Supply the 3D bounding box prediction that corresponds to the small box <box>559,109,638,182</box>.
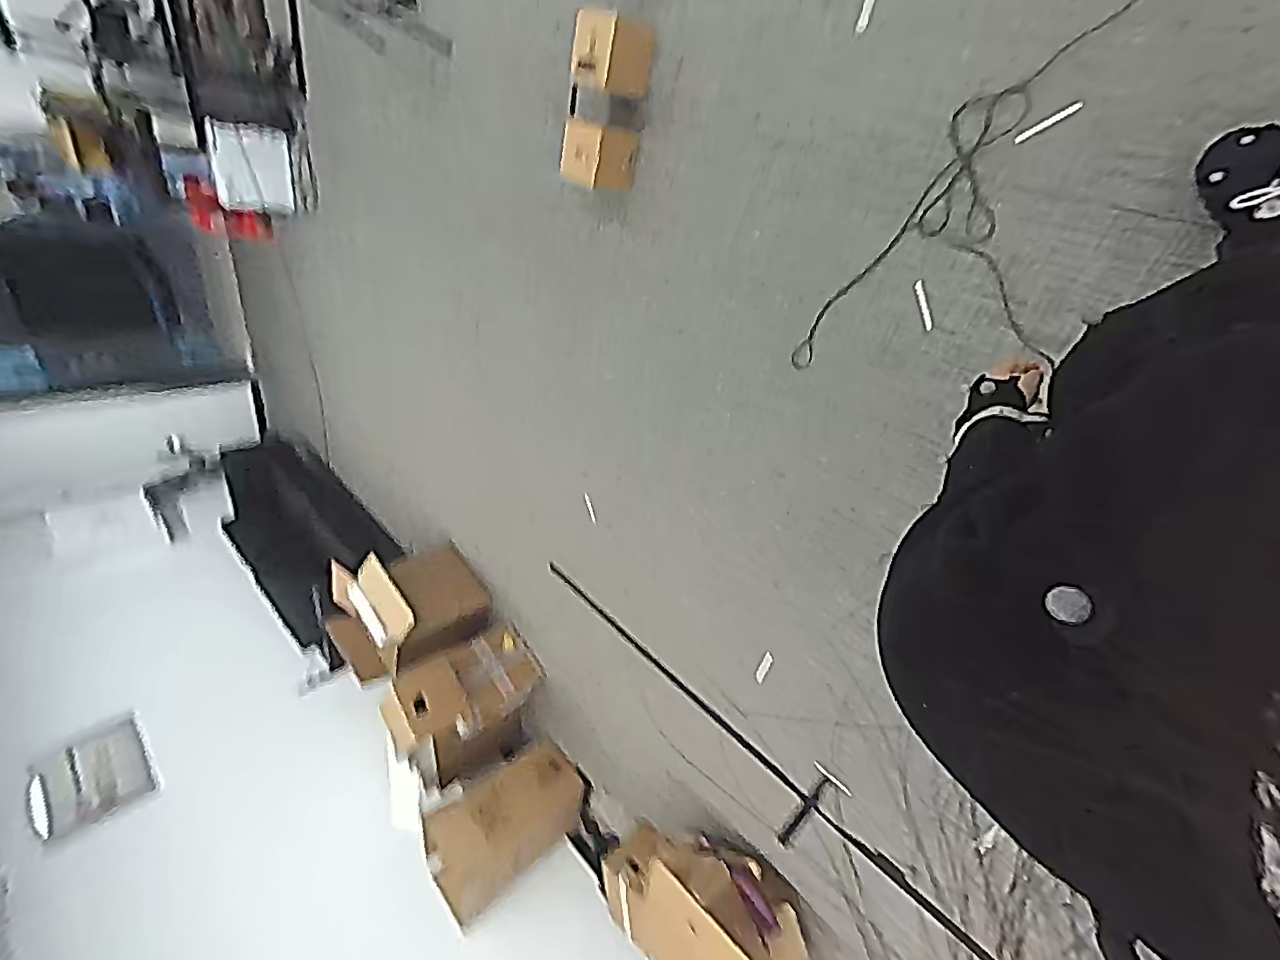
[{"bbox_3d":[-0.135,-1.087,1.765,0.179,0.176,0.168,37,130,28],"label":"small box"}]
